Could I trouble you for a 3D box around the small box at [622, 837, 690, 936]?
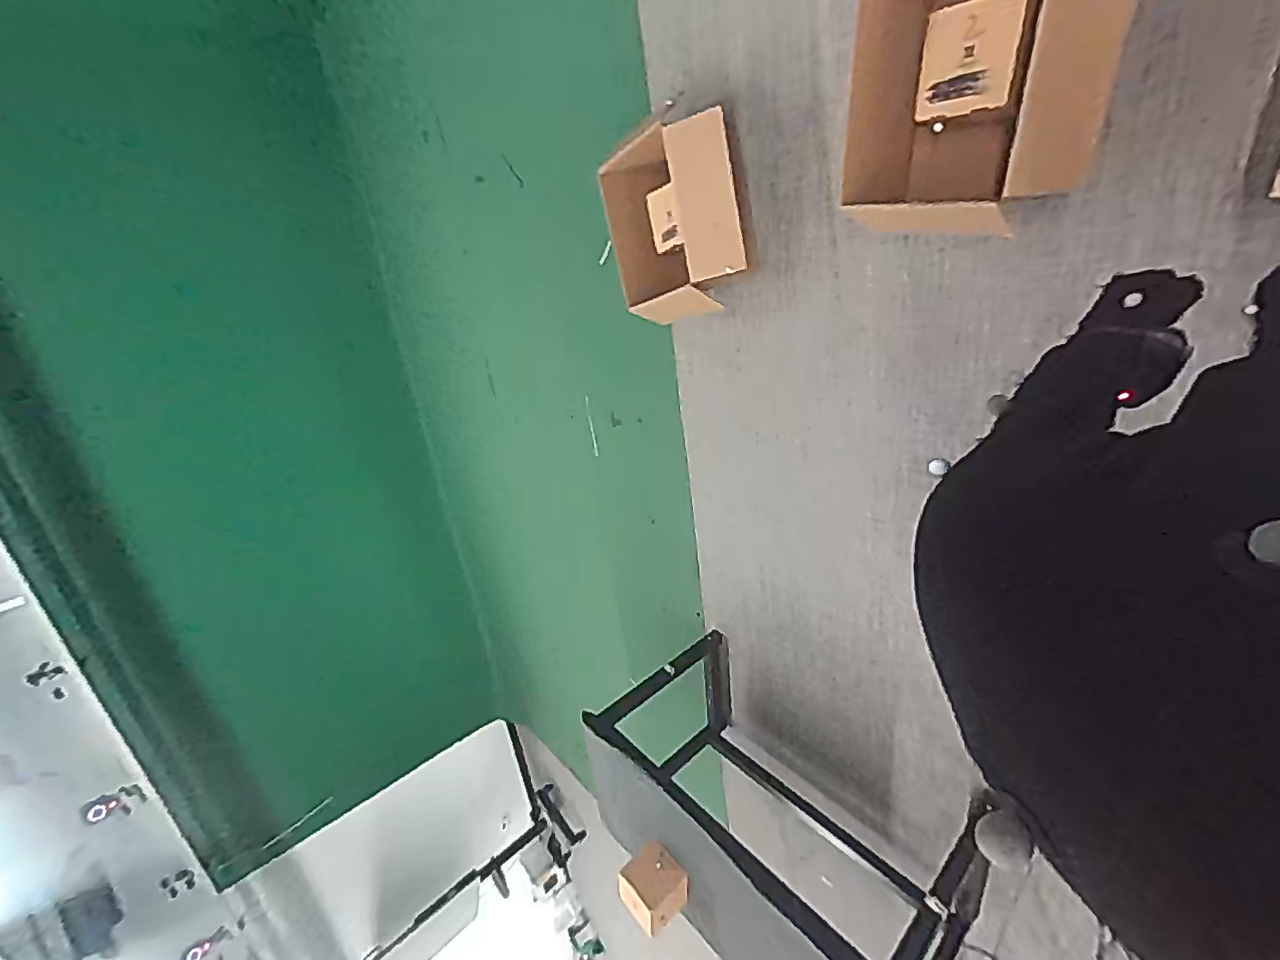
[{"bbox_3d":[0.058,1.380,1.843,0.168,0.176,0.179,27,129,43],"label":"small box"}]
